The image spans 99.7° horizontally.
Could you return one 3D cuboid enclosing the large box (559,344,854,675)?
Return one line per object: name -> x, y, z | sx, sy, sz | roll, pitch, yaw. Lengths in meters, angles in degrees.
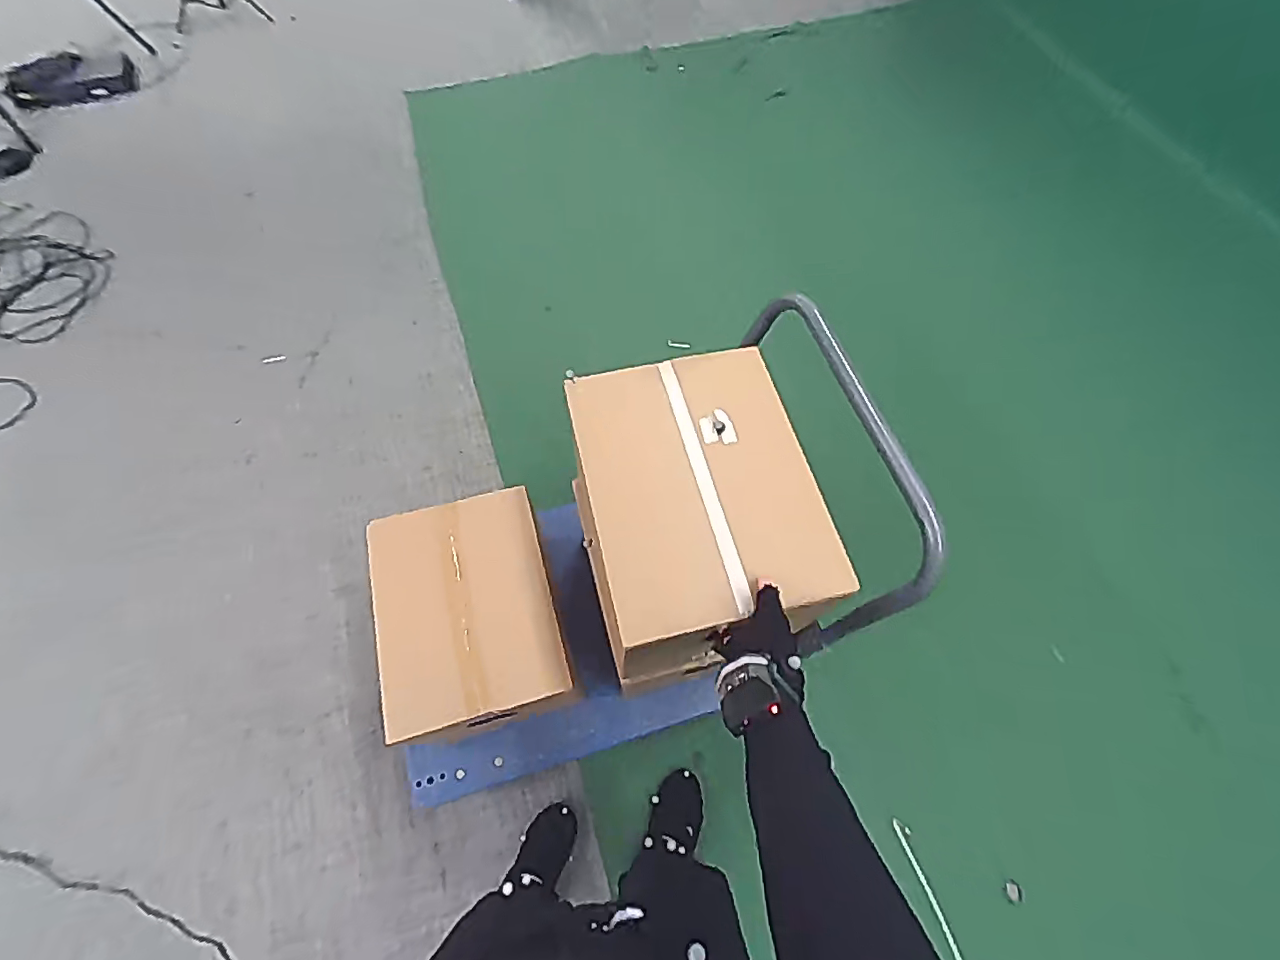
large box -> 0.072, 0.056, 0.873 | 0.320, 0.320, 0.408 | -11, 64, -8
